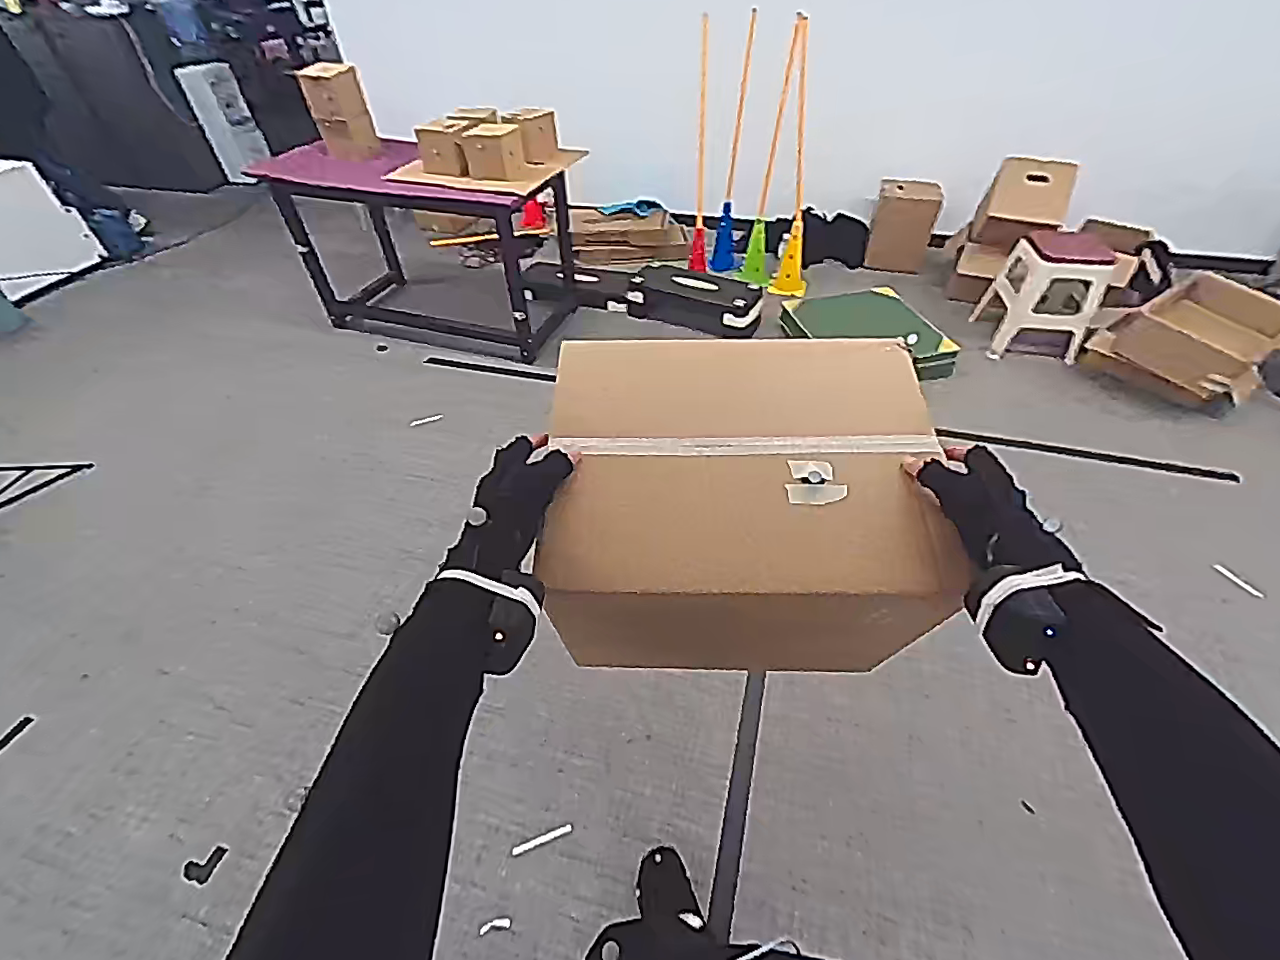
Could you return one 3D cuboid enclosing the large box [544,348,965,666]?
[{"bbox_3d":[0.109,0.049,0.708,0.408,0.320,0.320,0,59,2],"label":"large box"}]
